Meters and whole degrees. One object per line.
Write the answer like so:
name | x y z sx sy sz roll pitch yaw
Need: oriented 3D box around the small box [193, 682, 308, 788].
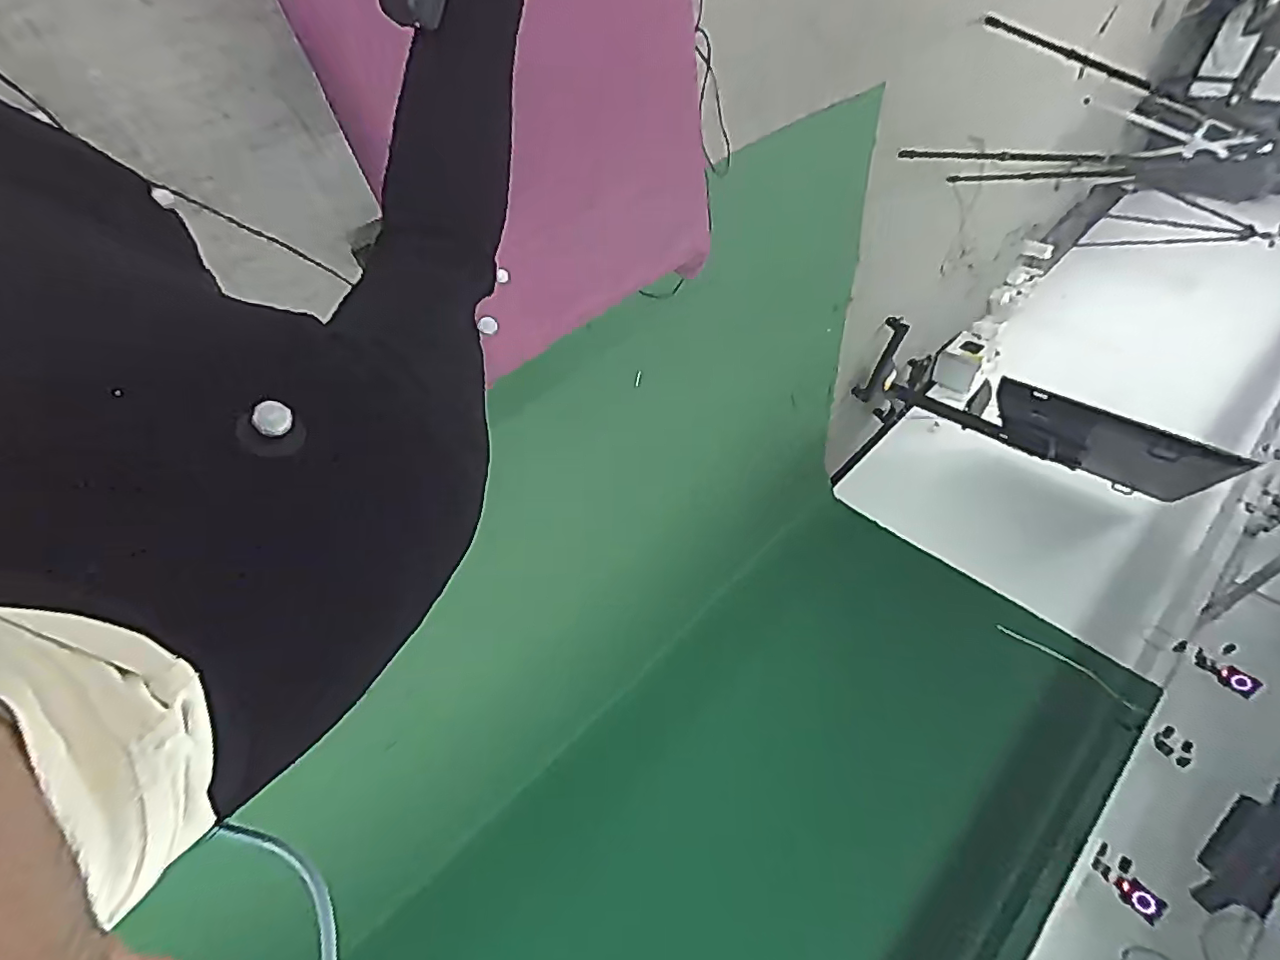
small box | -1.035 0.673 1.439 0.168 0.176 0.179 -38 142 -23
